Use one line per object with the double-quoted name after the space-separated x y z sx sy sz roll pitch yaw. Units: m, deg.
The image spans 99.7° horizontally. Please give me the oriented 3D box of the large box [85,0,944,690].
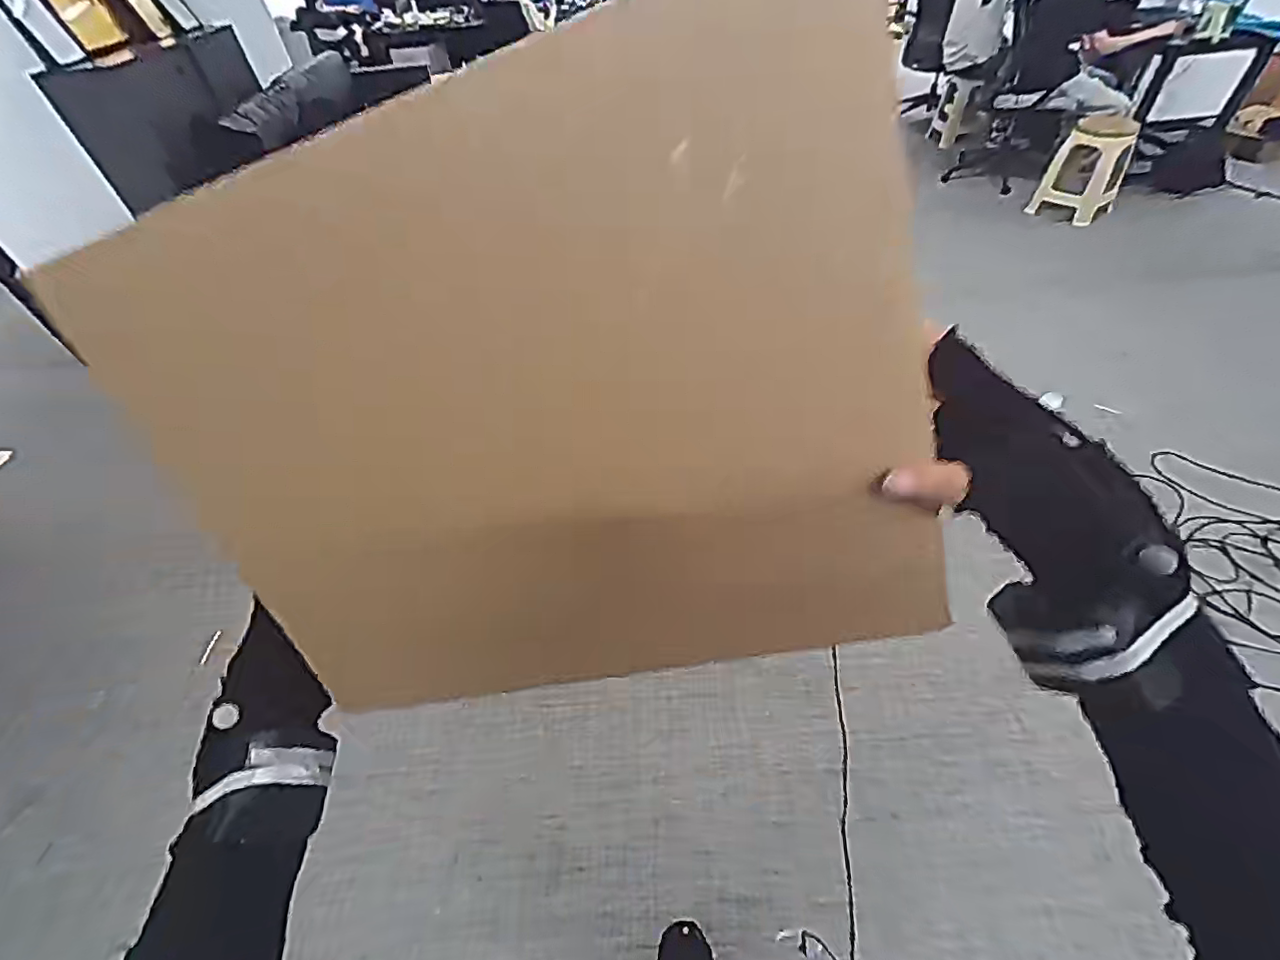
-0.039 -0.081 0.423 0.408 0.320 0.320 -12 24 13 "large box"
